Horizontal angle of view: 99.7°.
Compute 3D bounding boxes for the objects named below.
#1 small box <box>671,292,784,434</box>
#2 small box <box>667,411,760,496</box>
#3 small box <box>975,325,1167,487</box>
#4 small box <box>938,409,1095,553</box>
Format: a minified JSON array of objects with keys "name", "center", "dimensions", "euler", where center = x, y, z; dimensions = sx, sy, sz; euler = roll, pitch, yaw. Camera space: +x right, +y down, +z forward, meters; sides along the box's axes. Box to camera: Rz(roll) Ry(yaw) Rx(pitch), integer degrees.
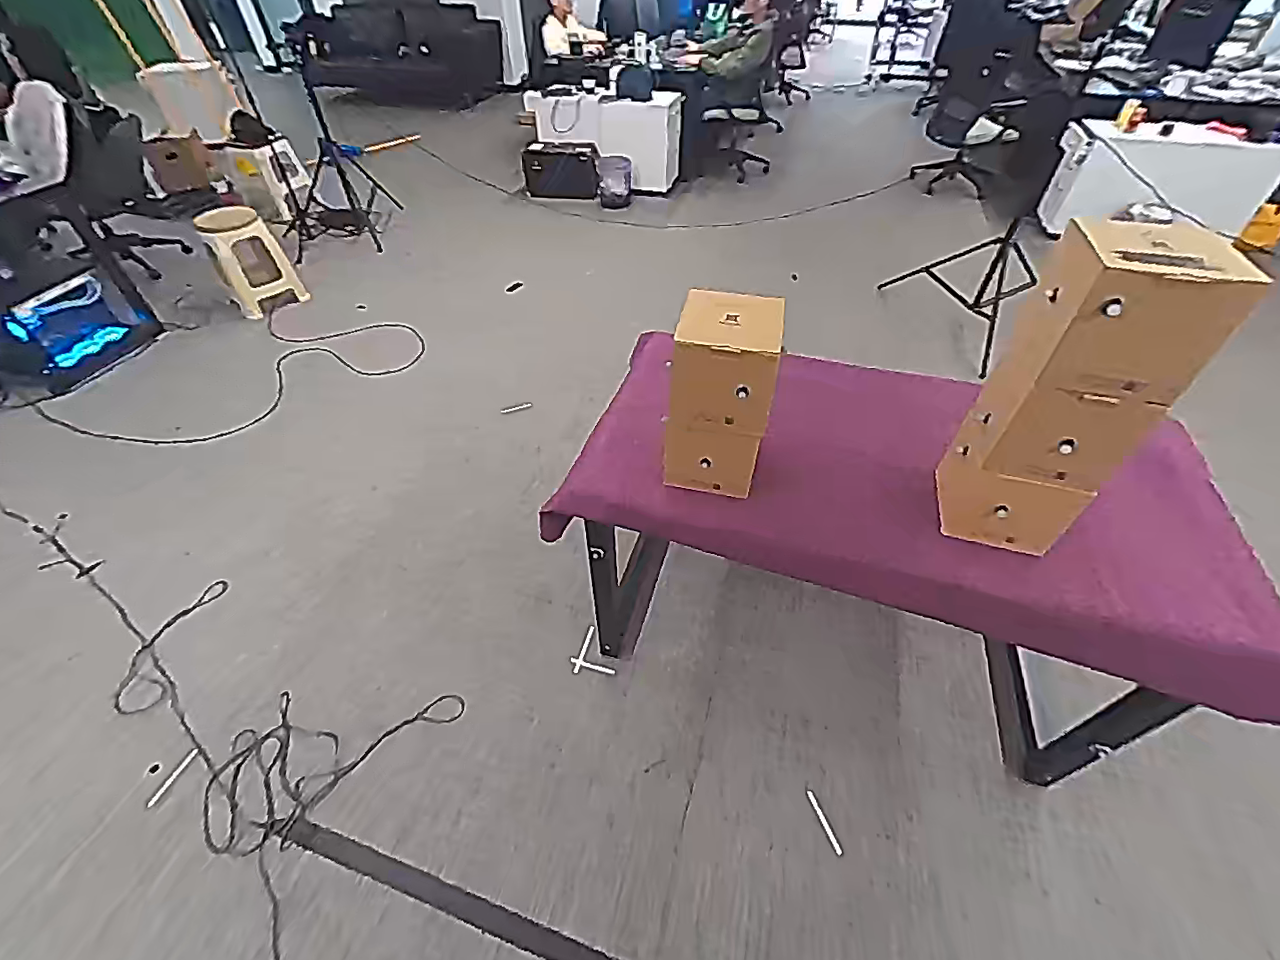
[{"name":"small box","center":[0.148,-0.200,0.929],"dimensions":[0.168,0.176,0.179],"euler":[9,46,8]},{"name":"small box","center":[0.148,-0.092,1.050],"dimensions":[0.168,0.176,0.179],"euler":[10,46,9]},{"name":"small box","center":[0.651,-0.114,0.845],"dimensions":[0.168,0.176,0.179],"euler":[13,47,13]},{"name":"small box","center":[0.650,0.003,0.960],"dimensions":[0.168,0.176,0.179],"euler":[12,47,13]}]
